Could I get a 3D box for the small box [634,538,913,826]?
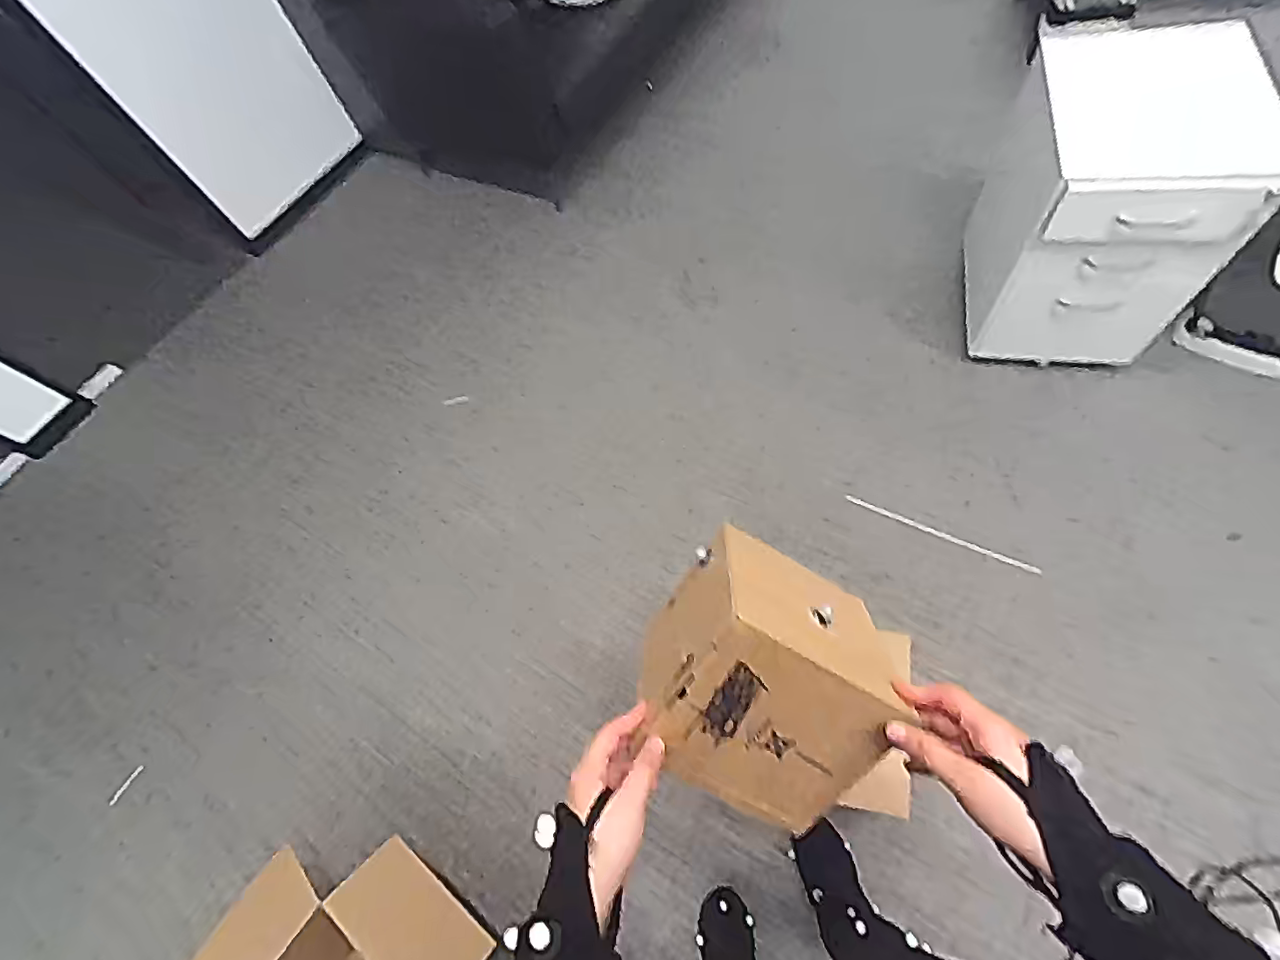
[{"bbox_3d":[0.115,0.180,0.529,0.179,0.176,0.168,29,111,-6],"label":"small box"}]
